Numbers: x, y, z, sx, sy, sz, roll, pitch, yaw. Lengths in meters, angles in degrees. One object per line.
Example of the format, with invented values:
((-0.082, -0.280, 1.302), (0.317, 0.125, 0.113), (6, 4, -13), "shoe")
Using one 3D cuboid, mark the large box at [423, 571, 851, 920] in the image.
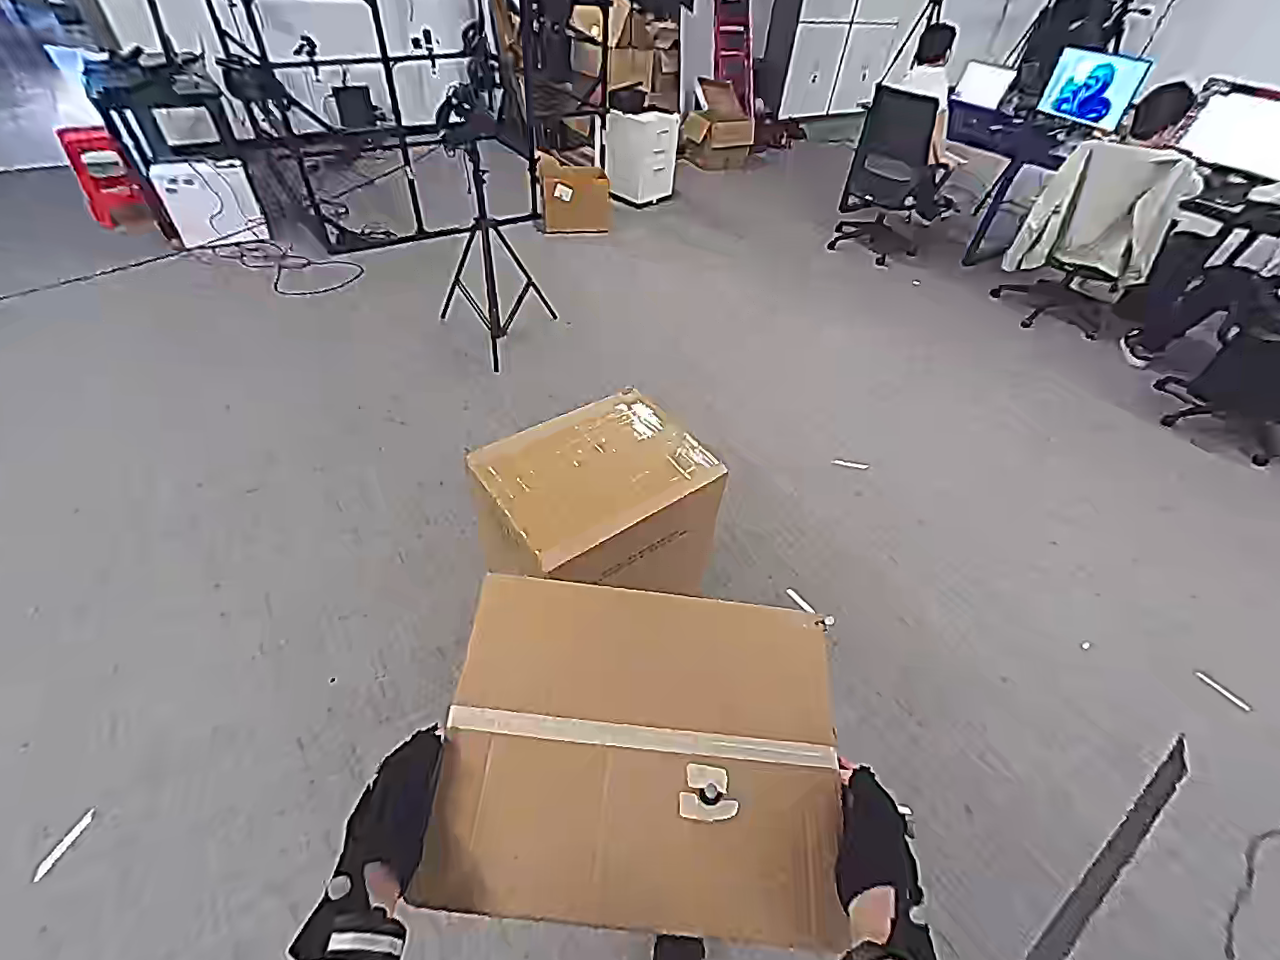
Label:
((-0.006, 0.334, 0.693), (0.408, 0.320, 0.320), (7, 59, -3), "large box")
